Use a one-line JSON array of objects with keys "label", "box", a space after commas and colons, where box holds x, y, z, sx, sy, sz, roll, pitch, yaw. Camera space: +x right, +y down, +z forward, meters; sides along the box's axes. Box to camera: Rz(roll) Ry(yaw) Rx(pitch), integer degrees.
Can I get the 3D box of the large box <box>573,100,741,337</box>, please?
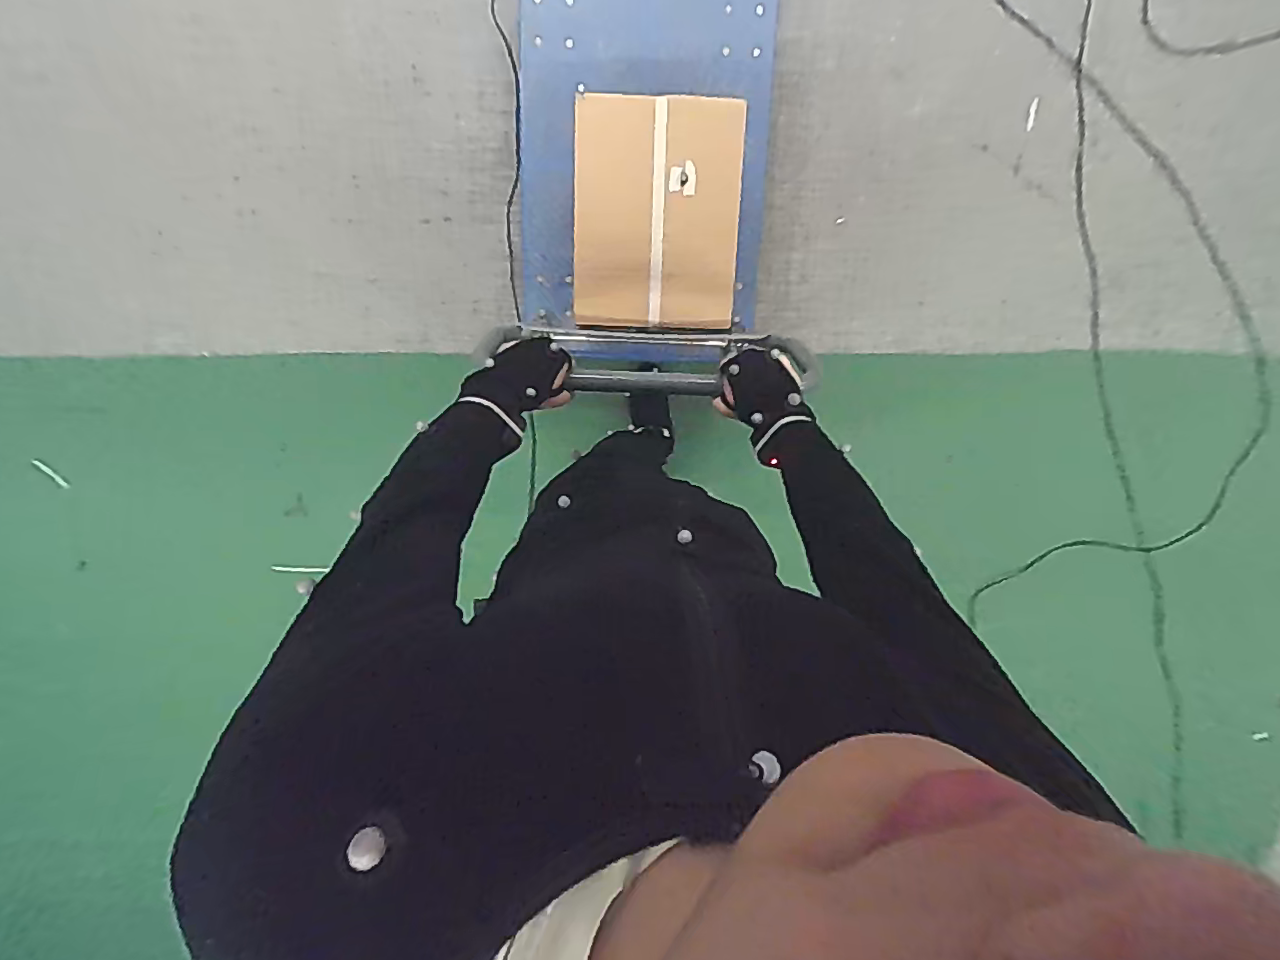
[{"label": "large box", "box": [0.026, -0.524, 1.172, 0.320, 0.320, 0.408, 1, 103, -3]}]
